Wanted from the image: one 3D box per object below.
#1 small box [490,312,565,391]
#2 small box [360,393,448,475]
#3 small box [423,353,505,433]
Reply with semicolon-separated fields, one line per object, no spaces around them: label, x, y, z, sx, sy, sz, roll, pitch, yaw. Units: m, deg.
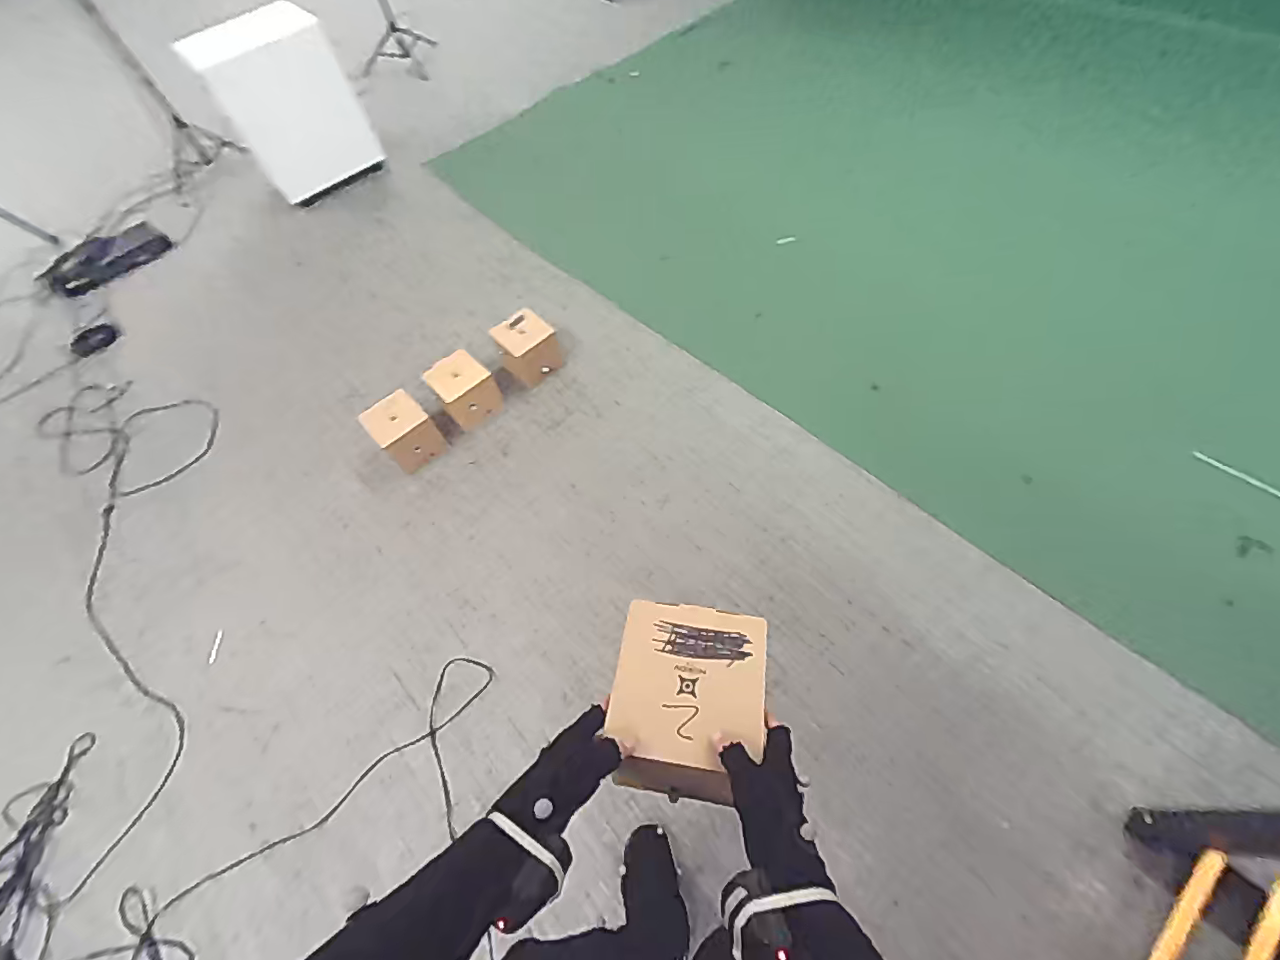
small box;-0.386;-0.442;1.881;0.168;0.176;0.179;-41;64;-18
small box;-0.749;-0.139;1.734;0.168;0.176;0.179;-40;63;-17
small box;-0.581;-0.282;1.806;0.168;0.176;0.179;-42;63;-18
